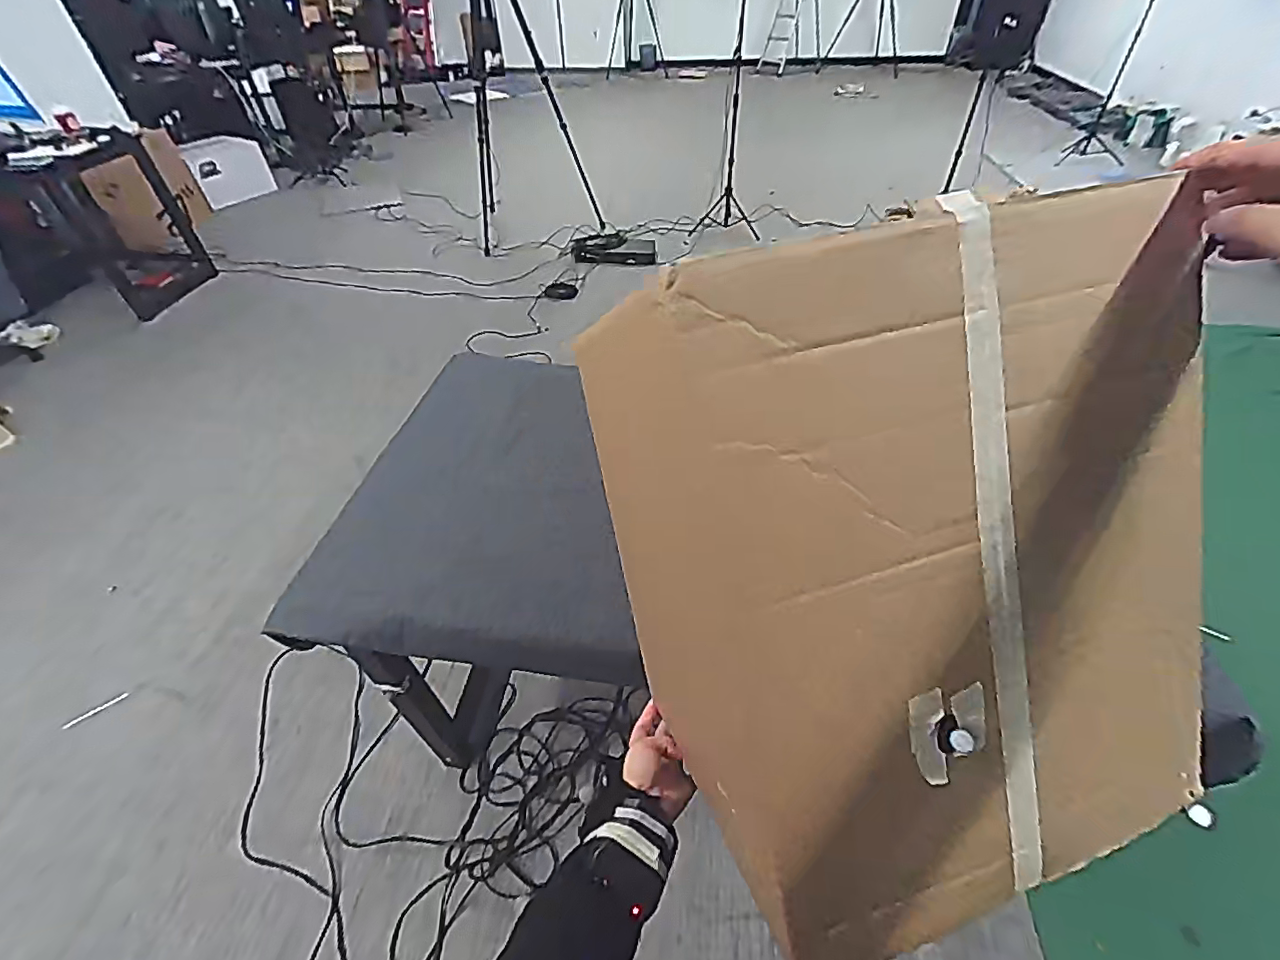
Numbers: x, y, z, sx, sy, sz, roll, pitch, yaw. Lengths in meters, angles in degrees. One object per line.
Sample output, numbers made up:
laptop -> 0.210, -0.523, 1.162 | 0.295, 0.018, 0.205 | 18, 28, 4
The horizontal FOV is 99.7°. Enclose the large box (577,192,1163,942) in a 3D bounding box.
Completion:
large box -> 0.161, 0.035, 0.463 | 0.320, 0.408, 0.320 | -15, 13, -12
